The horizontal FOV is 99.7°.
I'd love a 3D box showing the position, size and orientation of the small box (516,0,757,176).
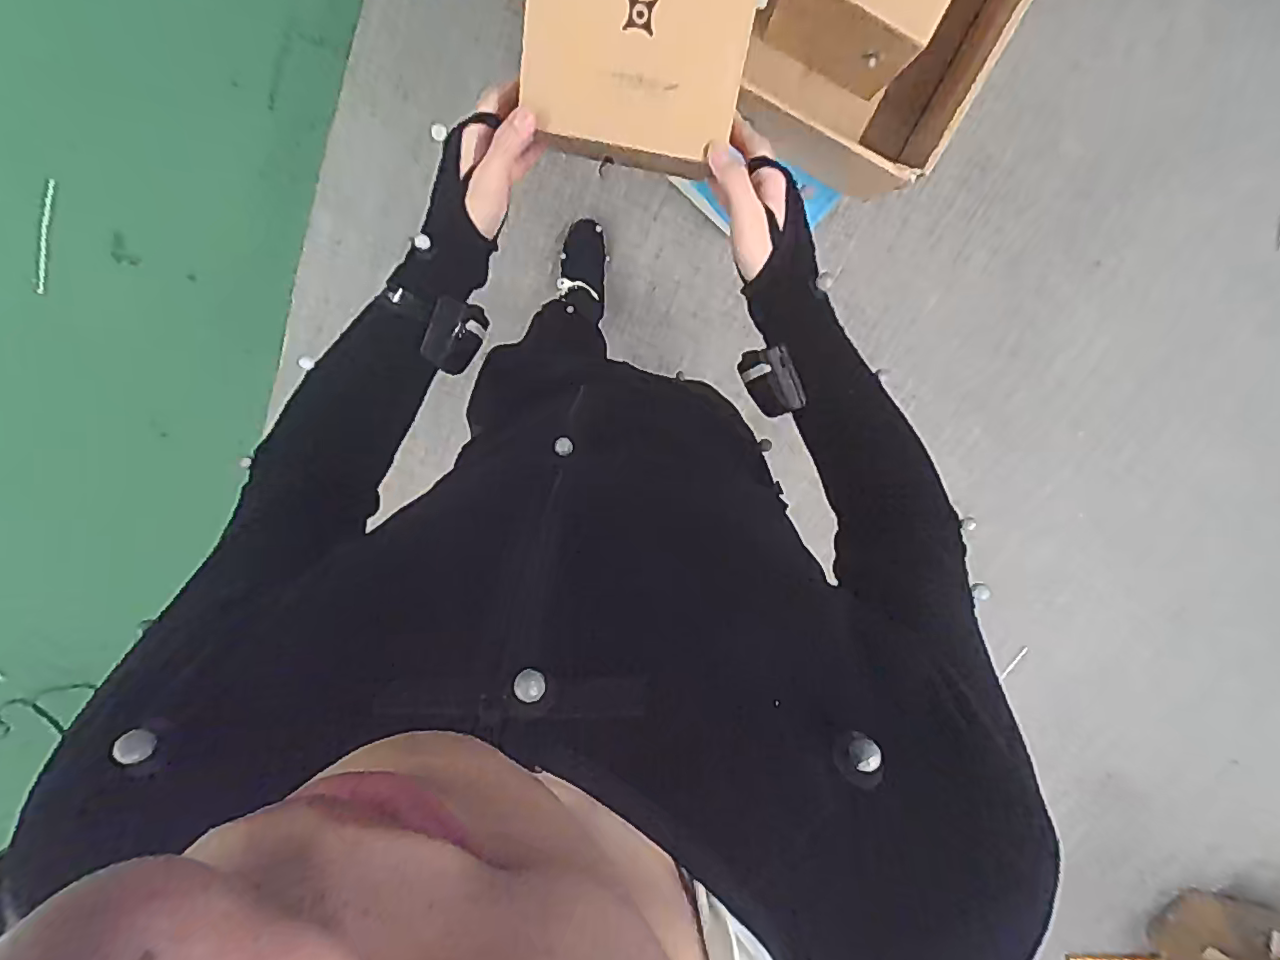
[{"bbox_3d":[0.001,-0.377,0.457,0.168,0.176,0.179,10,115,-4],"label":"small box"}]
